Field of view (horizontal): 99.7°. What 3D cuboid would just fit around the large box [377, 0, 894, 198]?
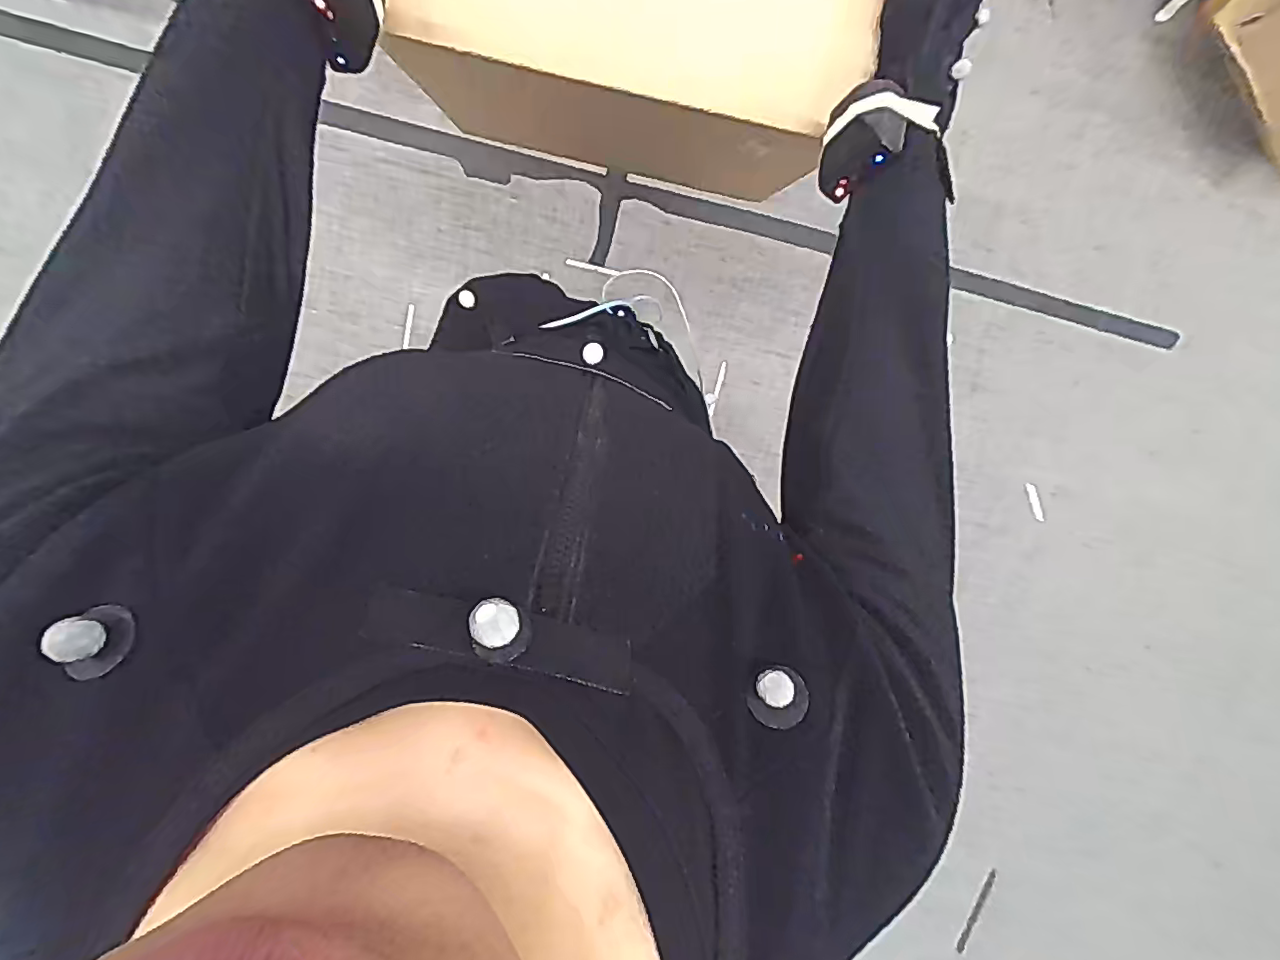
[{"bbox_3d":[0.008,-0.507,0.531,0.408,0.320,0.320,10,109,-6],"label":"large box"}]
